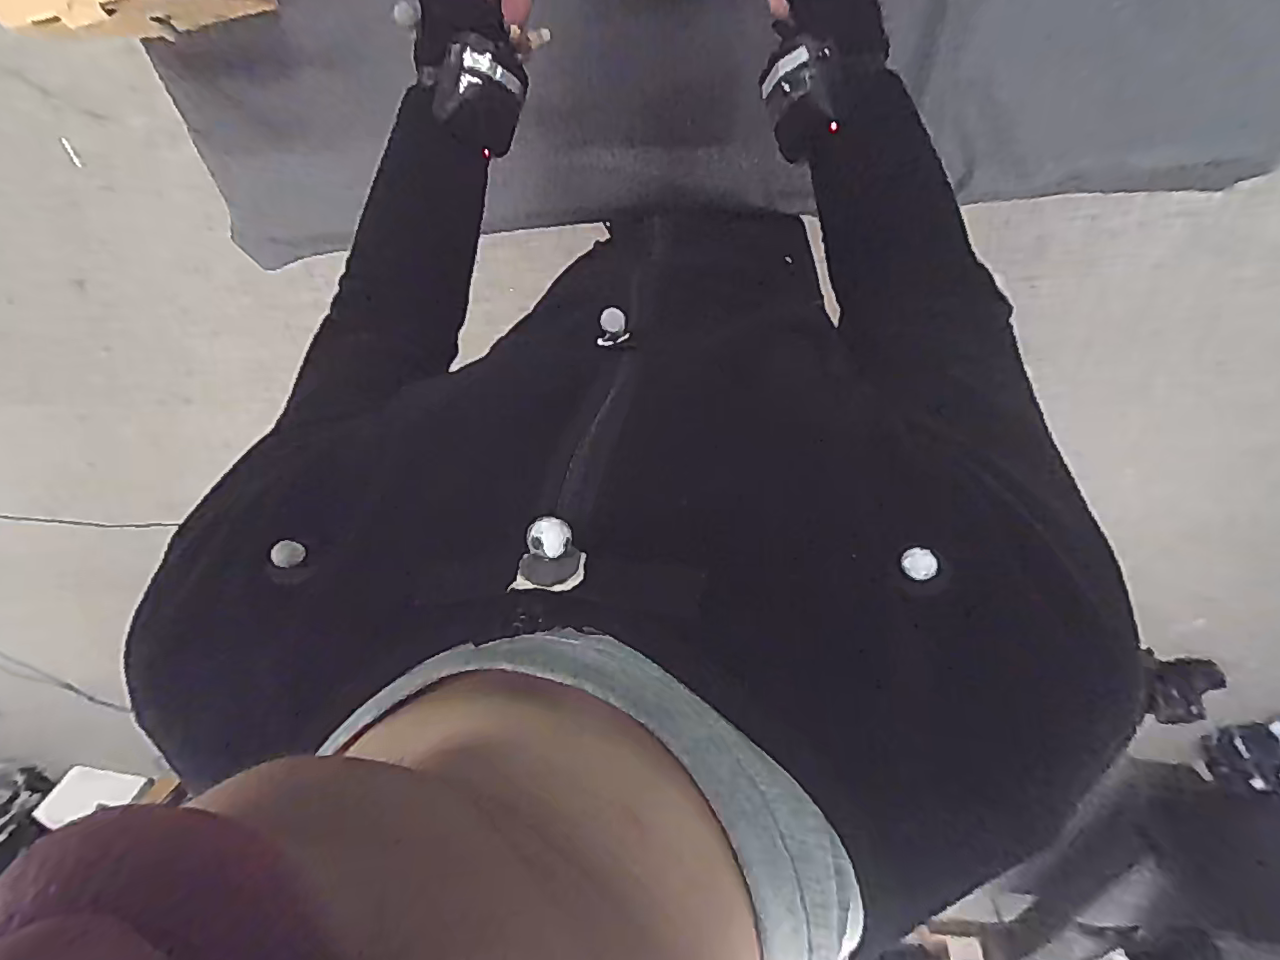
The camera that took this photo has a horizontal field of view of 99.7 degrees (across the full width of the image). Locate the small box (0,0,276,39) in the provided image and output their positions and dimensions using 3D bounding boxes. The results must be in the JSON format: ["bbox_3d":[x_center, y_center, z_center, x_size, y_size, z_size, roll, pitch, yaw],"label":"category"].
[{"bbox_3d":[-0.475,-0.516,0.475,0.168,0.176,0.179,-4,128,11],"label":"small box"}]
